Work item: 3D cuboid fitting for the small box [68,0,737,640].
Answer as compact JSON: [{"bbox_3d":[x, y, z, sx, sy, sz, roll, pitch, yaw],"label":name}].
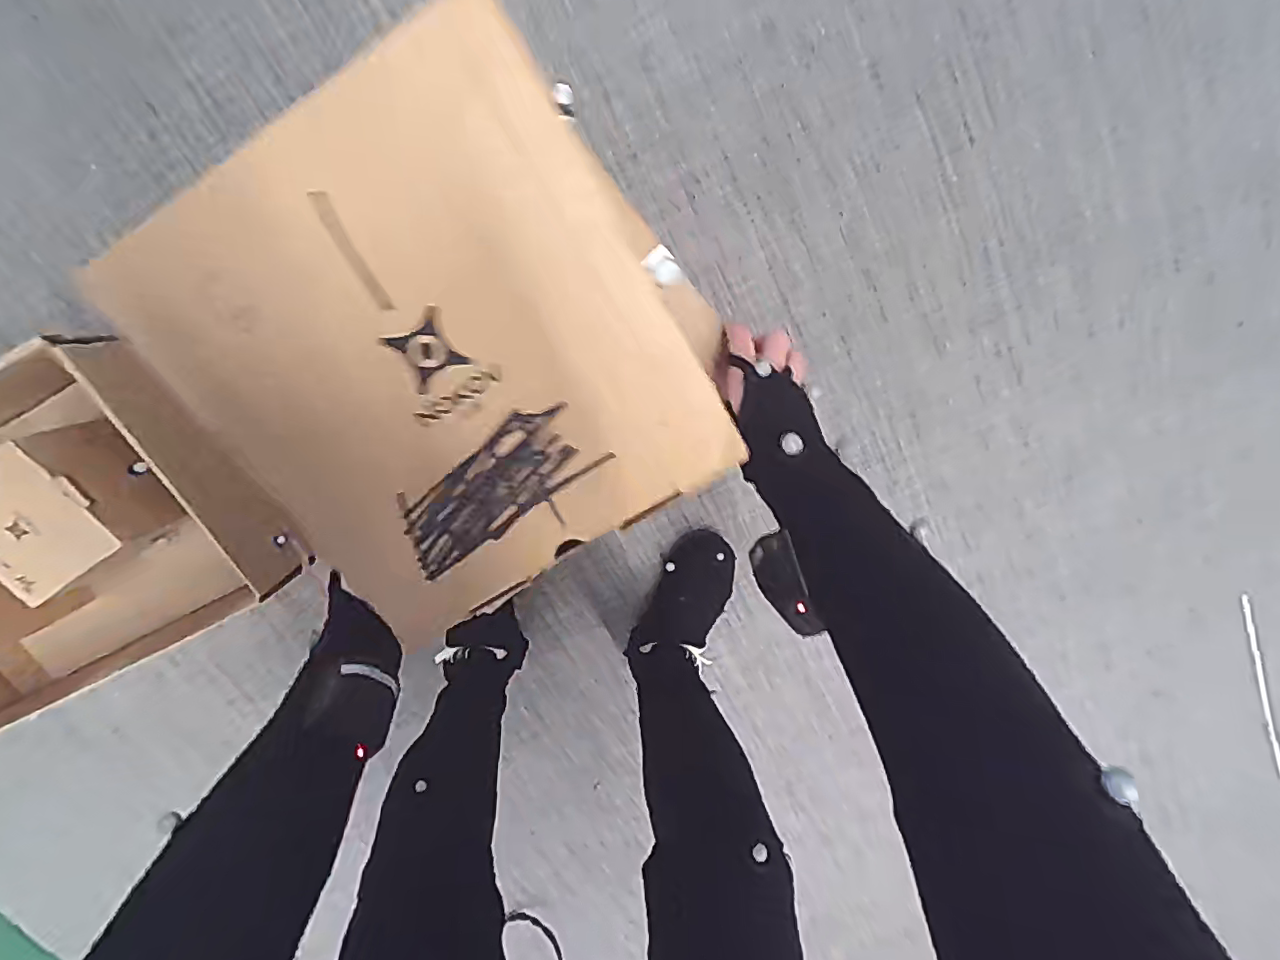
[{"bbox_3d":[-0.074,-0.066,0.263,0.168,0.176,0.179,-29,107,7],"label":"small box"}]
